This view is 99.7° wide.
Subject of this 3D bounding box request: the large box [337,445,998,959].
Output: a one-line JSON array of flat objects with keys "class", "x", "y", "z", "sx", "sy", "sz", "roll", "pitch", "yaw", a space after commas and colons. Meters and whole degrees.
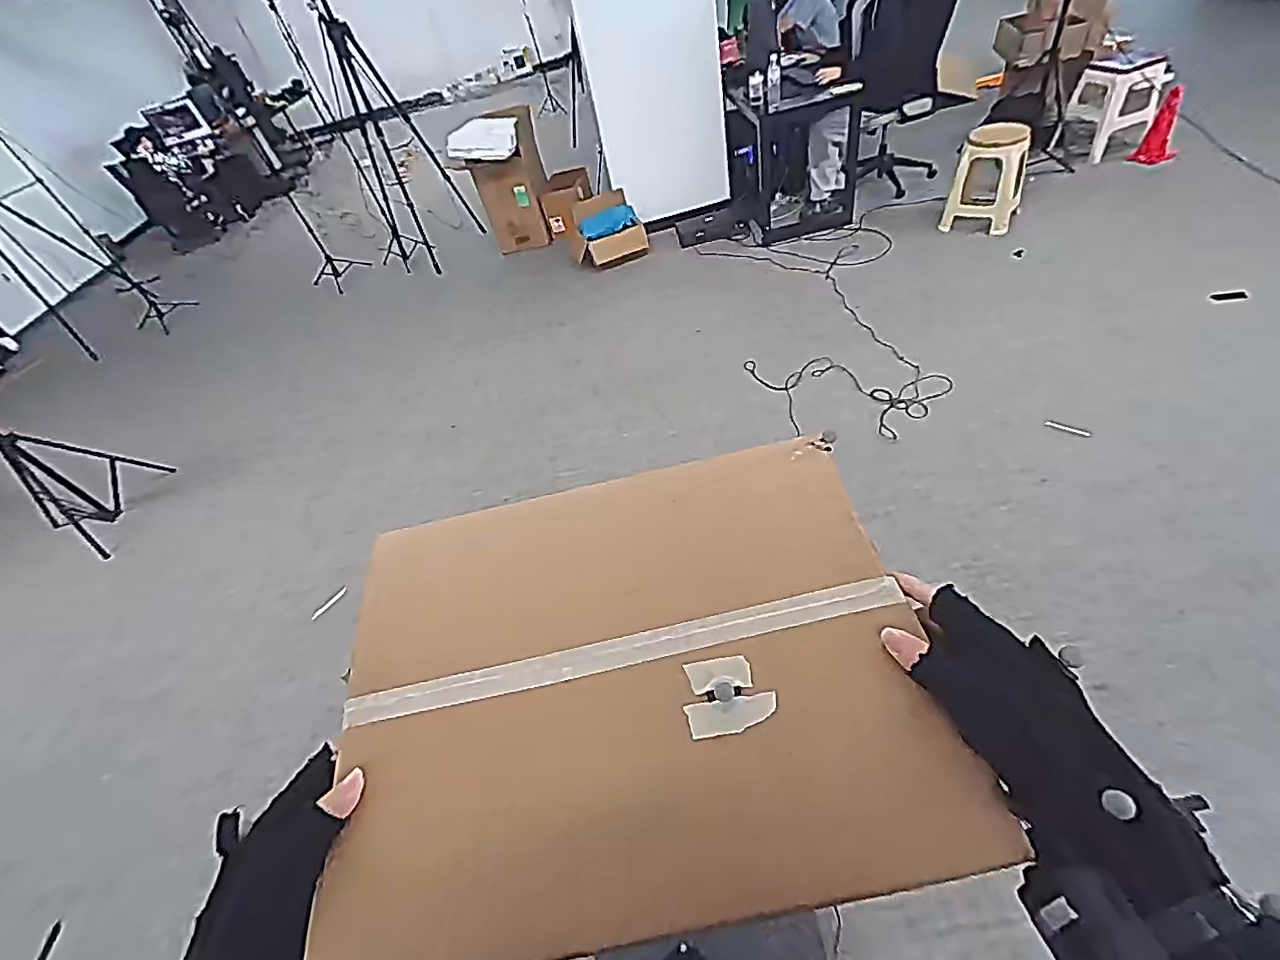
[{"class": "large box", "x": 0.012, "y": 0.219, "z": 0.518, "sx": 0.408, "sy": 0.320, "sz": 0.320, "roll": -13, "pitch": 52, "yaw": 1}]
